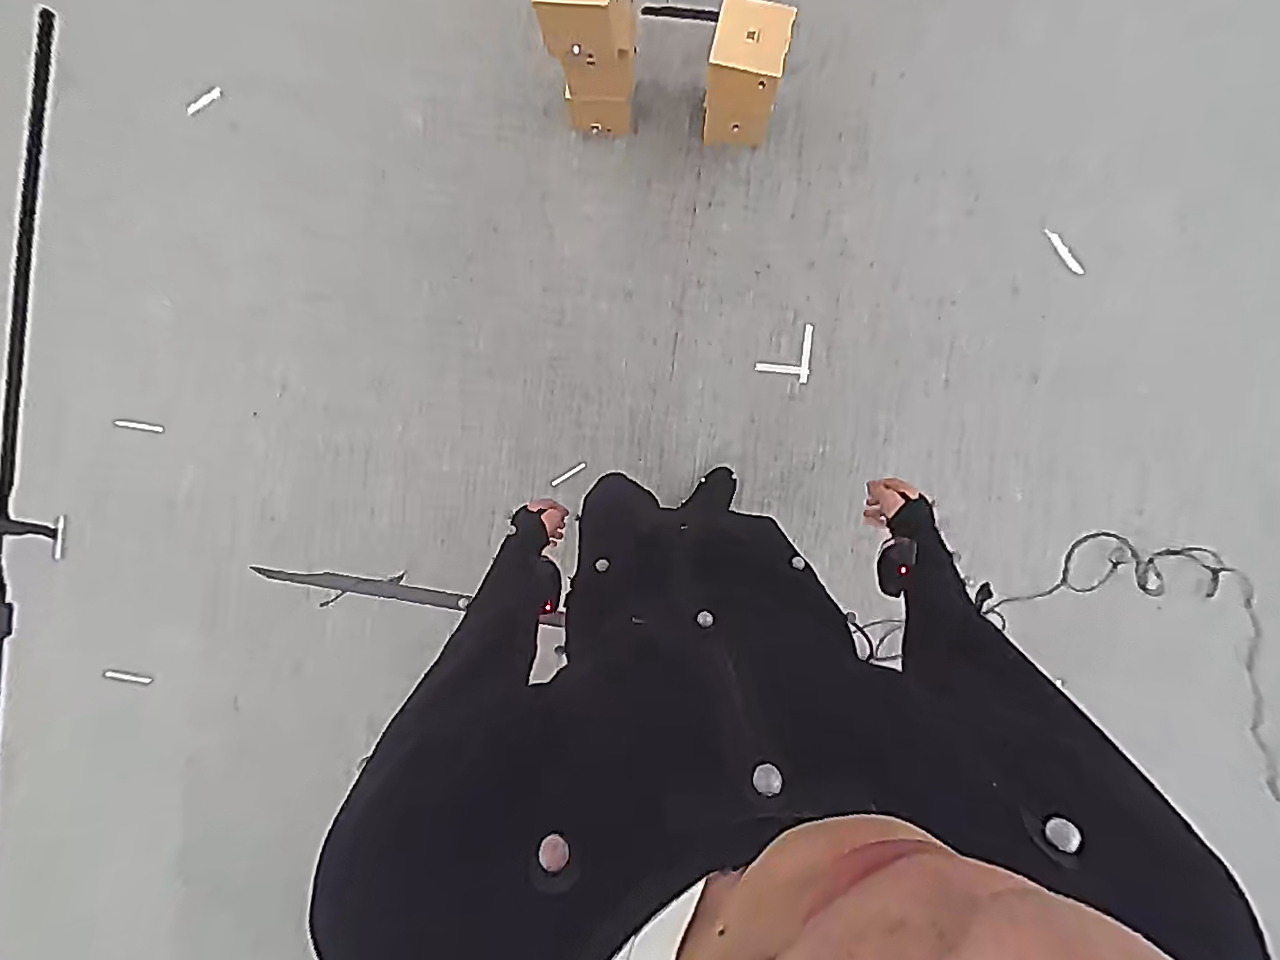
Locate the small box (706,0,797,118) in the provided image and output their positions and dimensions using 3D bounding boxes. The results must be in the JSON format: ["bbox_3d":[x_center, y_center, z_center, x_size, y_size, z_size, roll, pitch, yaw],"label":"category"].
[{"bbox_3d":[0.266,-1.039,1.338,0.179,0.176,0.168,13,93,1],"label":"small box"}]

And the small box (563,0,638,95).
[{"bbox_3d":[-0.102,-1.100,1.350,0.179,0.176,0.168,3,93,3],"label":"small box"}]

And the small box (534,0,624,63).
[{"bbox_3d":[-0.128,-1.071,1.188,0.168,0.176,0.179,7,94,4],"label":"small box"}]

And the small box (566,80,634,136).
[{"bbox_3d":[-0.107,-1.106,1.515,0.168,0.176,0.179,5,93,3],"label":"small box"}]
